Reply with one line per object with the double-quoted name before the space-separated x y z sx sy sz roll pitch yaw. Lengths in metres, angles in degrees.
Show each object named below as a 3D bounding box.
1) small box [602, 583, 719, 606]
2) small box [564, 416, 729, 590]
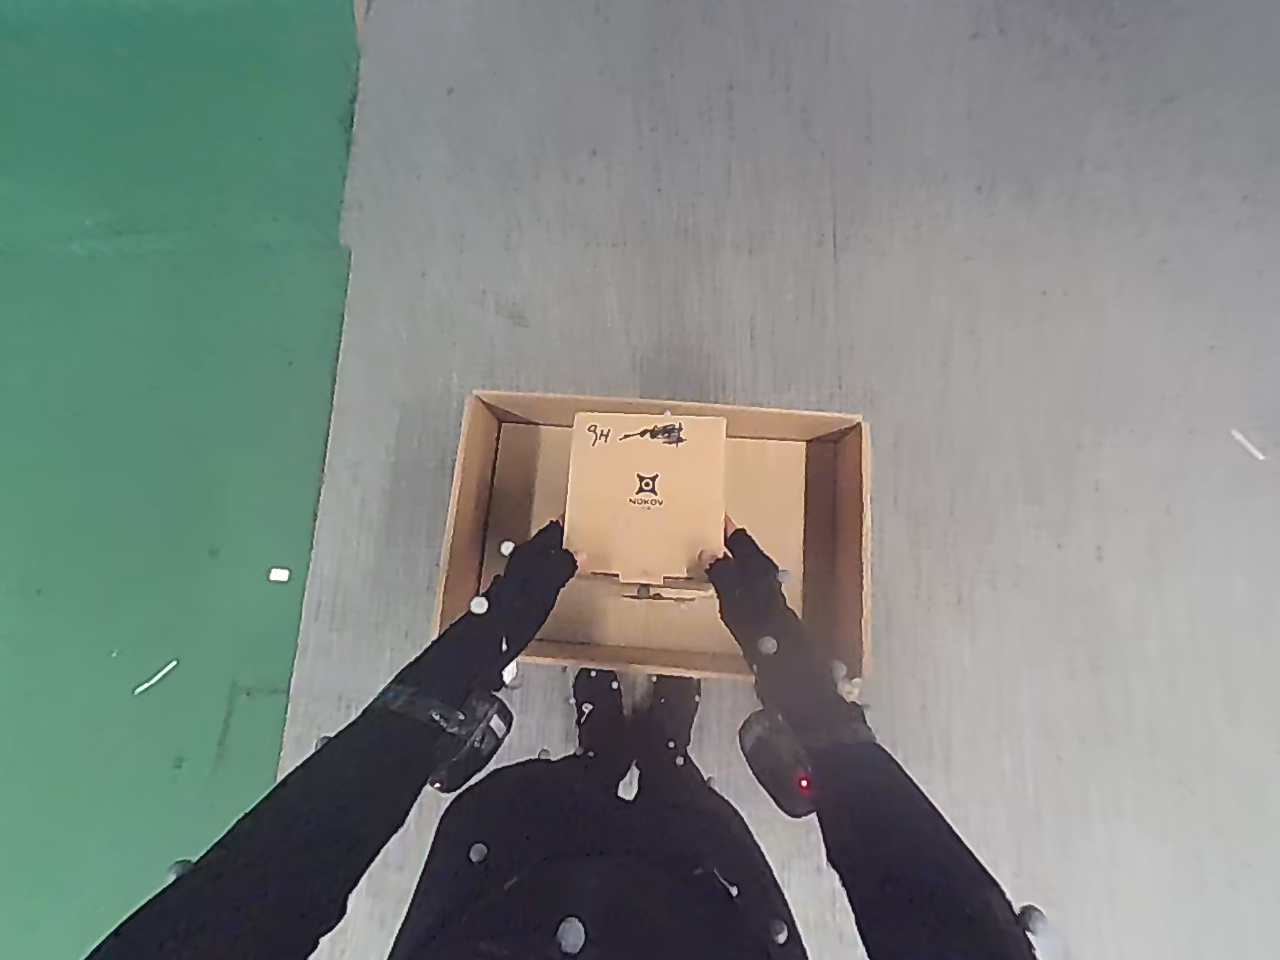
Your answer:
"small box" 0.036 0.103 0.843 0.168 0.176 0.179 2 77 2
"small box" 0.014 0.036 0.639 0.168 0.176 0.179 3 77 4
